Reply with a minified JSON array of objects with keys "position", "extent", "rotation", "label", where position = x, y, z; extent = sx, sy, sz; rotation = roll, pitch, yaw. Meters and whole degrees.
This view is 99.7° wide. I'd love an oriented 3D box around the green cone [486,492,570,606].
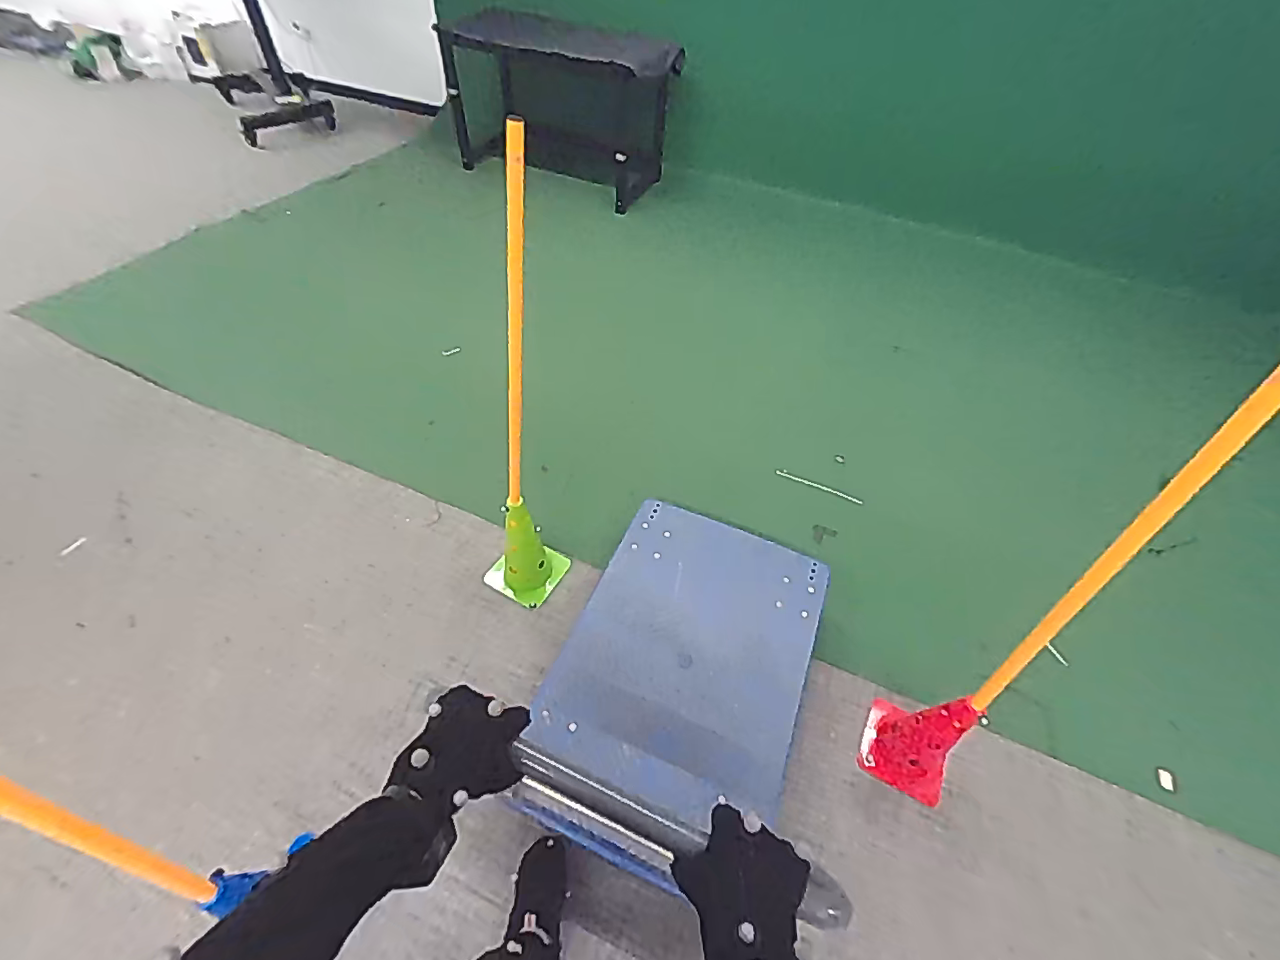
[{"position":[-0.334,0.163,1.540],"extent":[0.202,0.368,0.200],"rotation":[24,51,16],"label":"green cone"}]
